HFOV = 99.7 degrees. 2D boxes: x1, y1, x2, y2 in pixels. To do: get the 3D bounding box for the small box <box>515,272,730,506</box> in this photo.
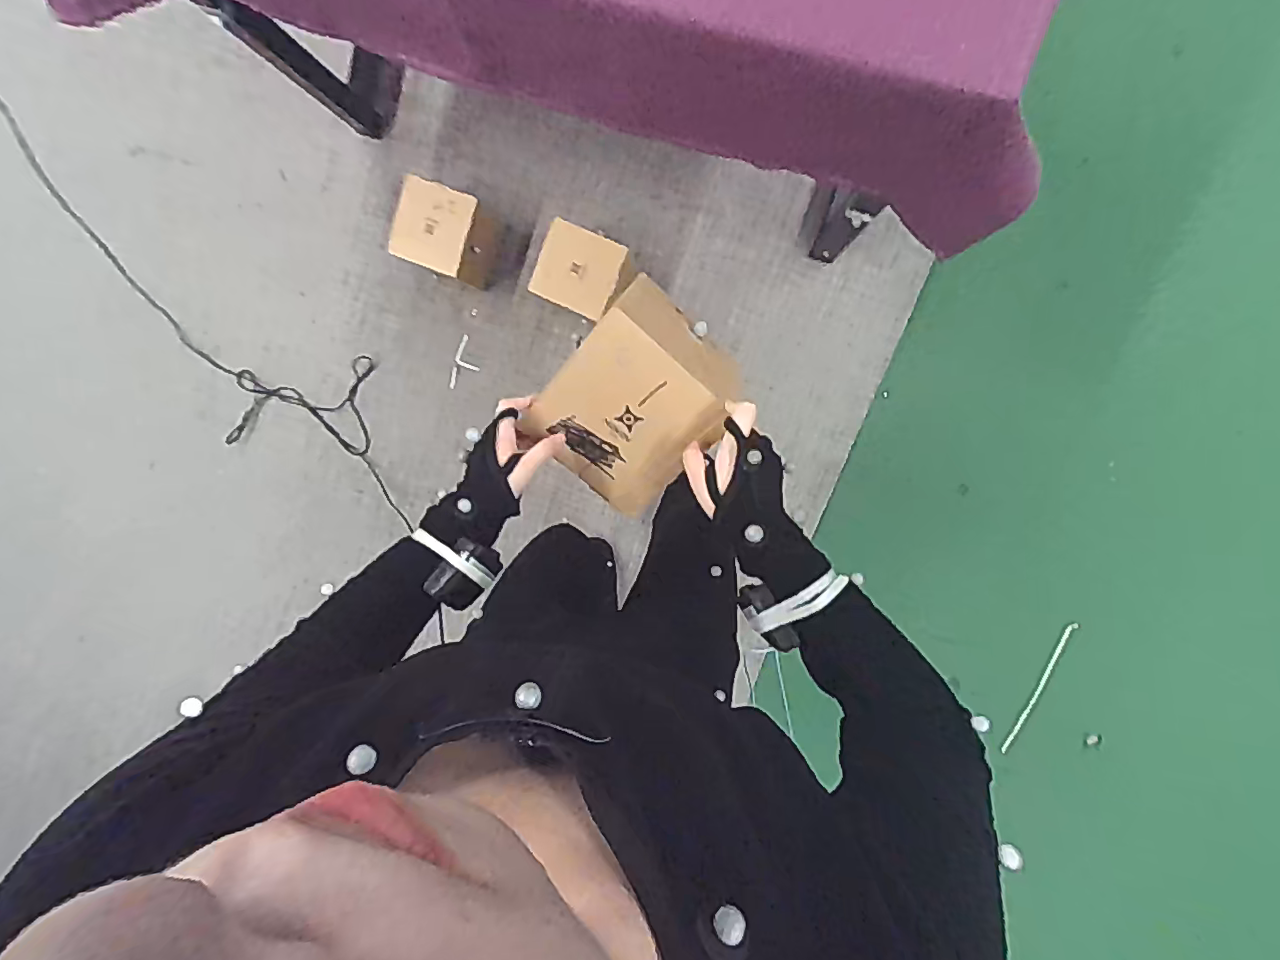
[{"bbox_3d":[-0.008,-0.110,0.627,0.168,0.176,0.179,40,119,-13],"label":"small box"}]
